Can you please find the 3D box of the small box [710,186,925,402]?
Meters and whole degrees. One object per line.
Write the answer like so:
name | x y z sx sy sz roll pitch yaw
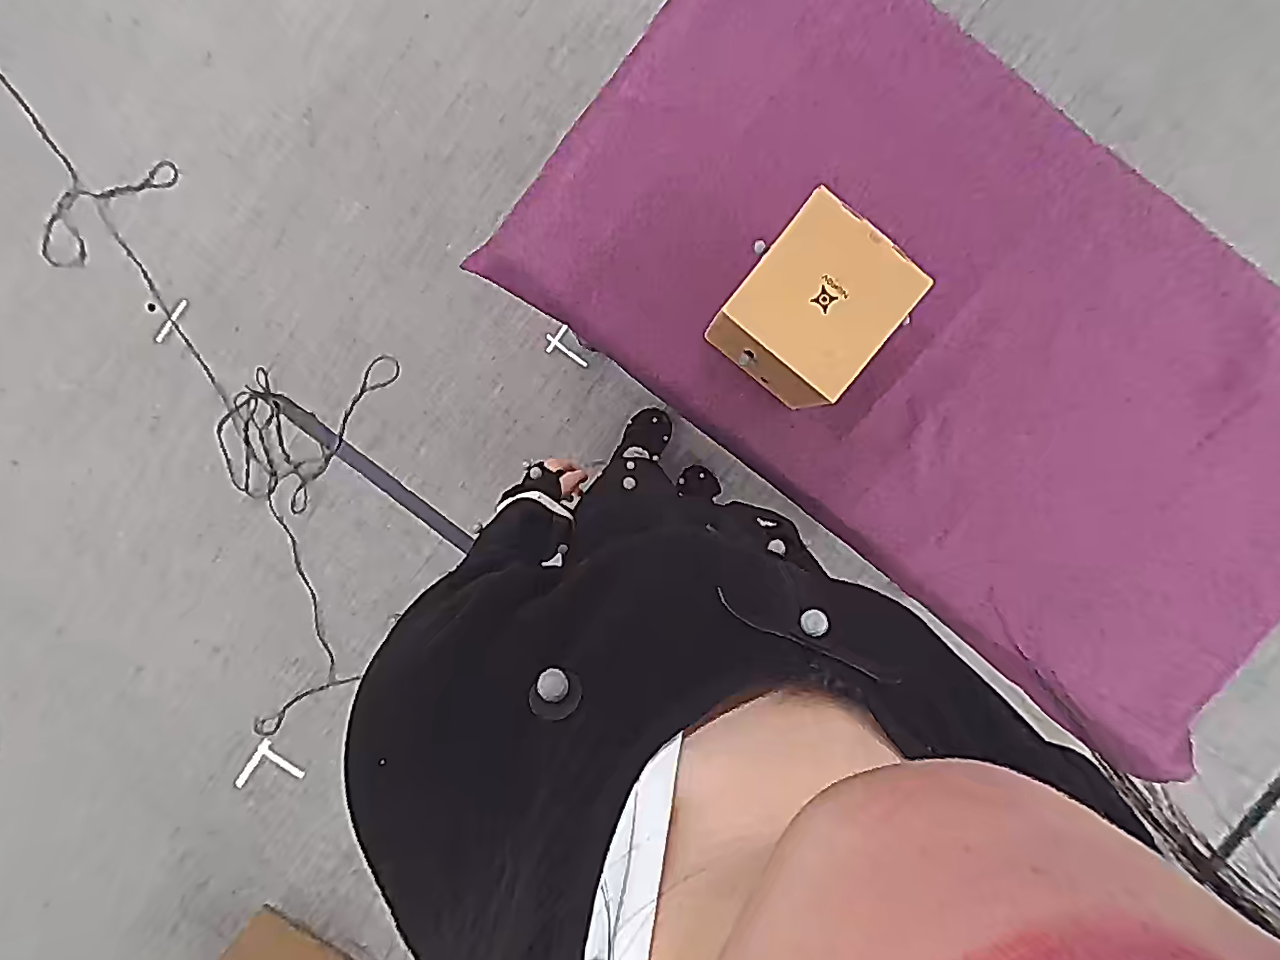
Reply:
small box | 0.204 -0.214 0.683 0.168 0.176 0.179 39 93 -3
